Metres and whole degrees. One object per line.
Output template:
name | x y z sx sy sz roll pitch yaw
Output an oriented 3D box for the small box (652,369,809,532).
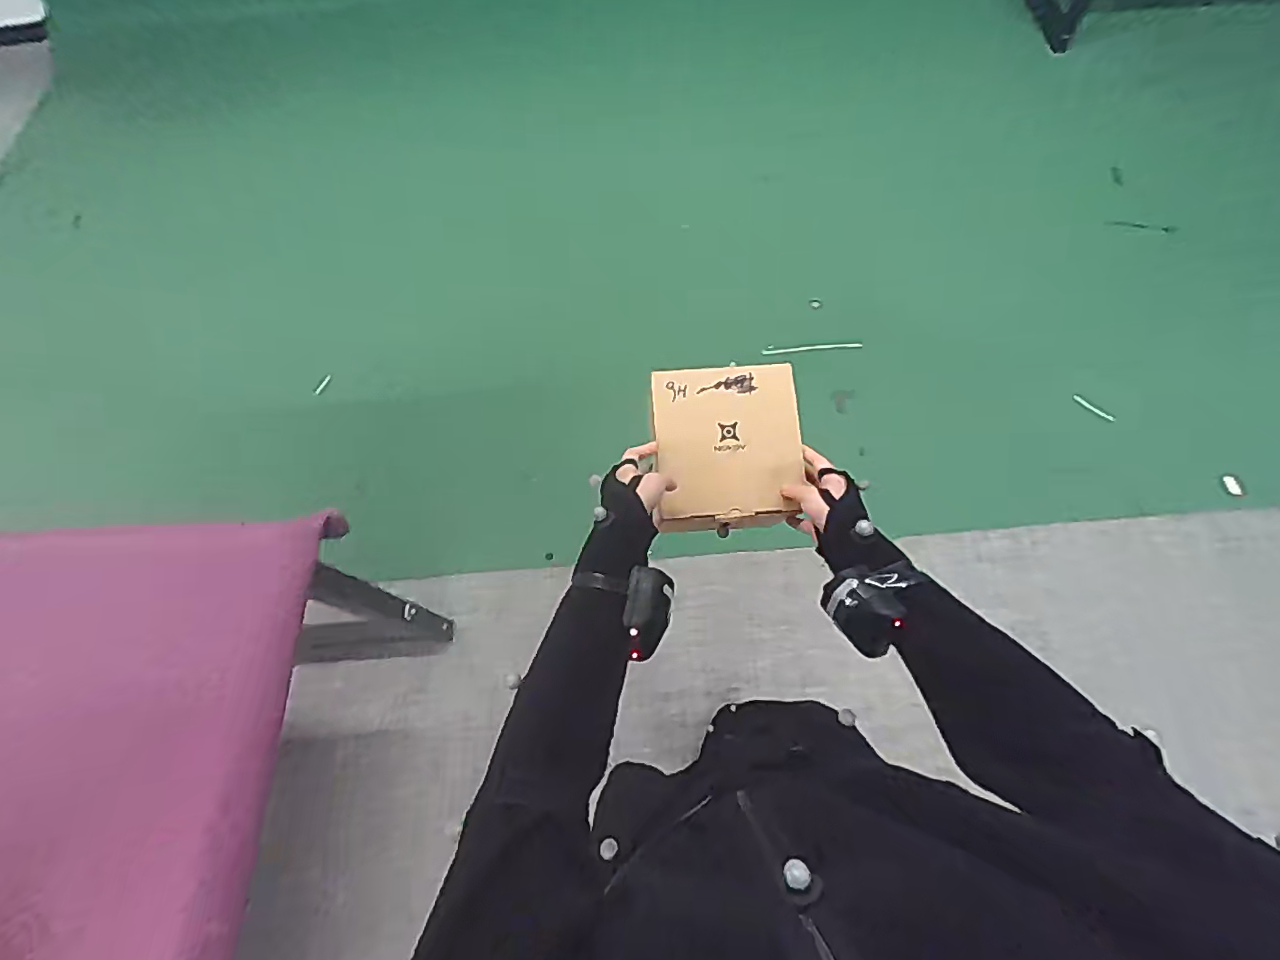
small box | 0.102 -0.026 0.684 0.168 0.176 0.179 -3 80 -1
